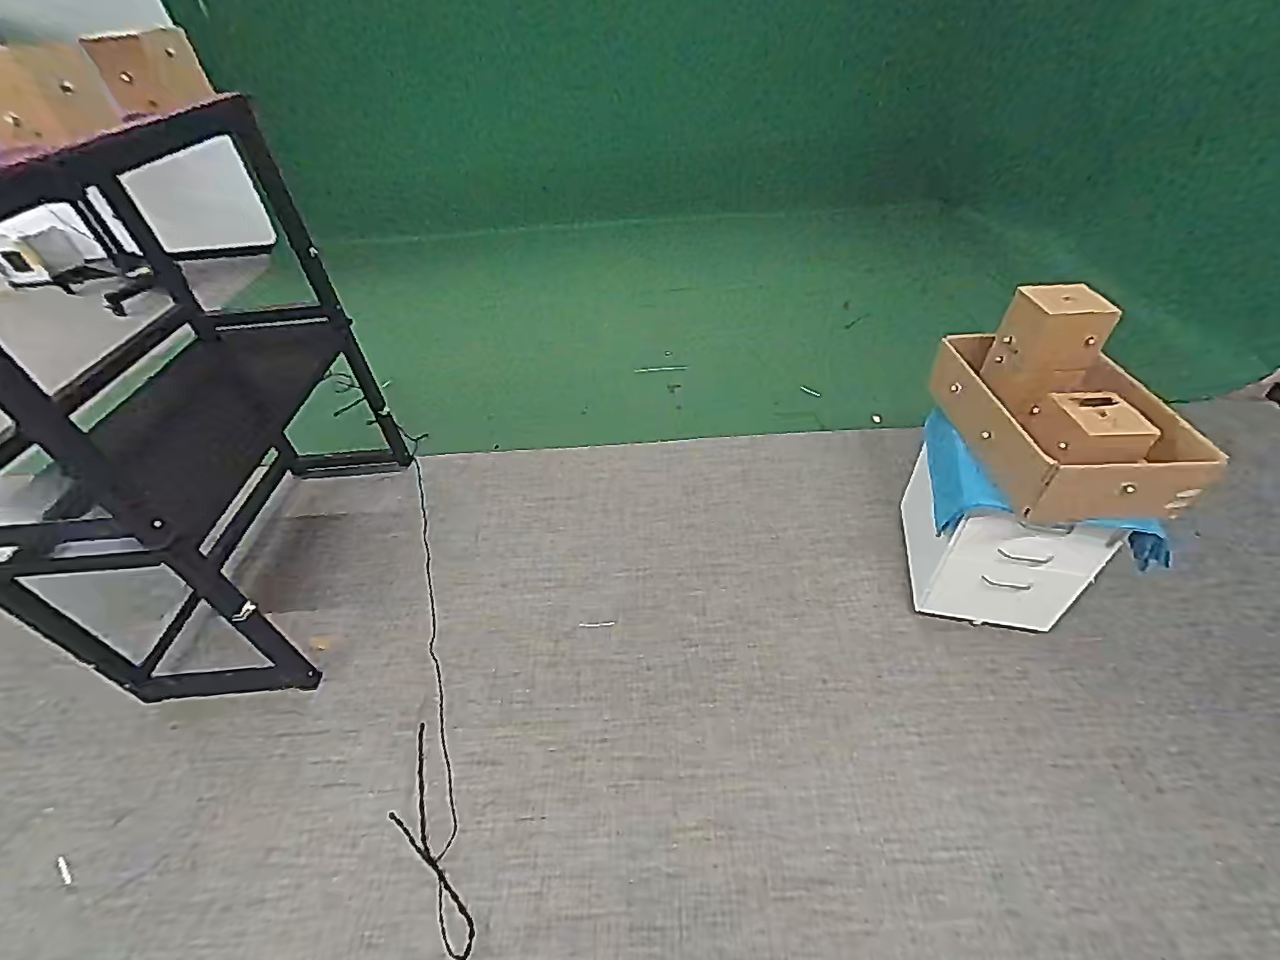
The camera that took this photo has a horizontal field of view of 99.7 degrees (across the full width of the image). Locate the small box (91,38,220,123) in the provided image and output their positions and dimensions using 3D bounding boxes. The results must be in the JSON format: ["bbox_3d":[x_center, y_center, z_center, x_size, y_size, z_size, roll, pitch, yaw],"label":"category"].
[{"bbox_3d":[-1.328,-1.106,1.502,0.168,0.176,0.179,0,44,5],"label":"small box"}]

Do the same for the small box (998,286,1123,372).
[{"bbox_3d":[1.107,-0.401,1.441,0.179,0.176,0.168,-2,43,3],"label":"small box"}]

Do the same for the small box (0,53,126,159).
[{"bbox_3d":[-1.330,-0.840,1.217,0.168,0.176,0.179,-5,43,3],"label":"small box"}]
